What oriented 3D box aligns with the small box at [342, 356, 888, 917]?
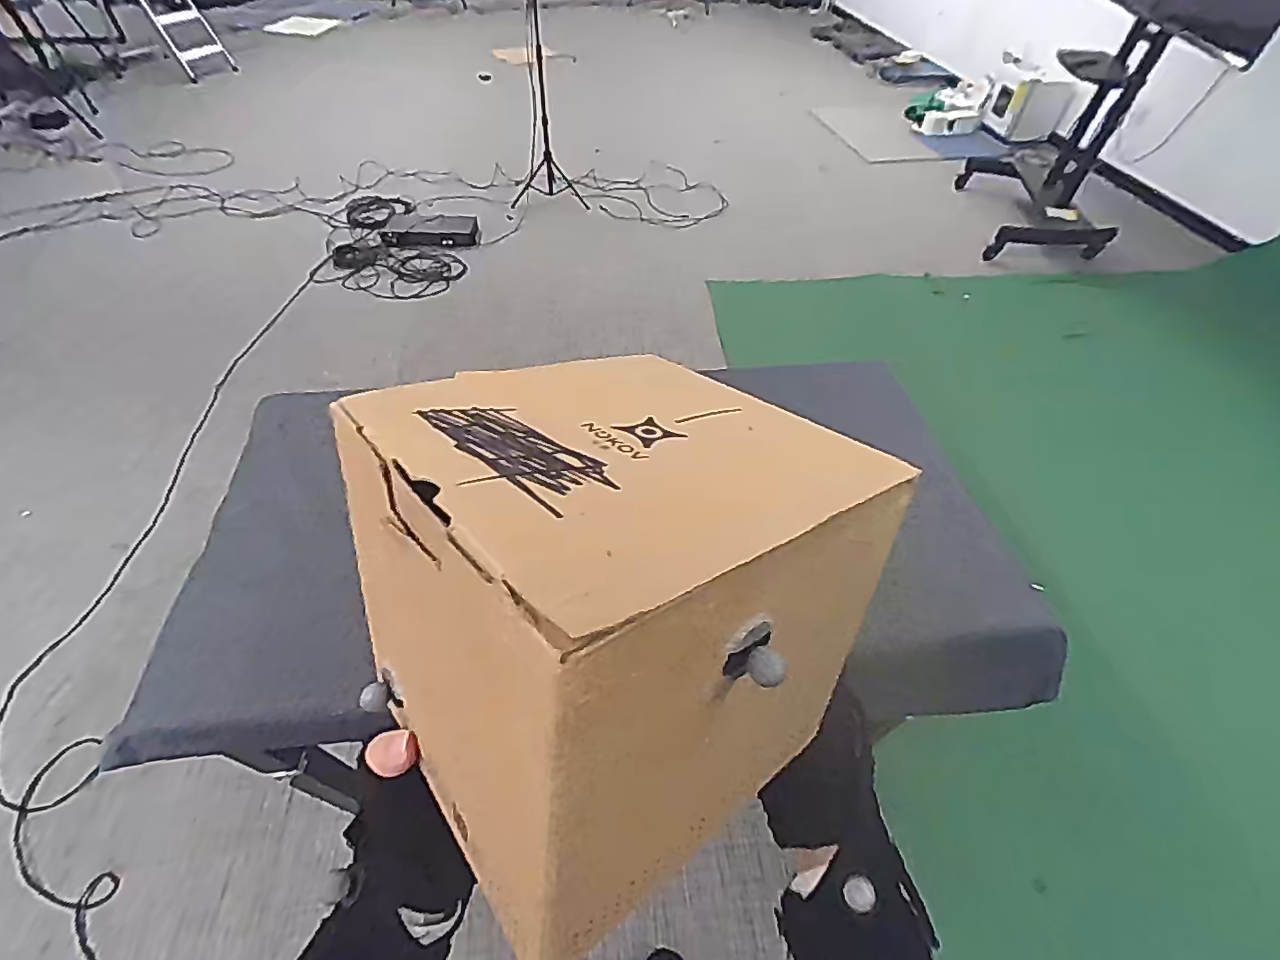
[{"bbox_3d":[-0.017,0.050,0.266,0.179,0.176,0.168,-18,38,-39],"label":"small box"}]
